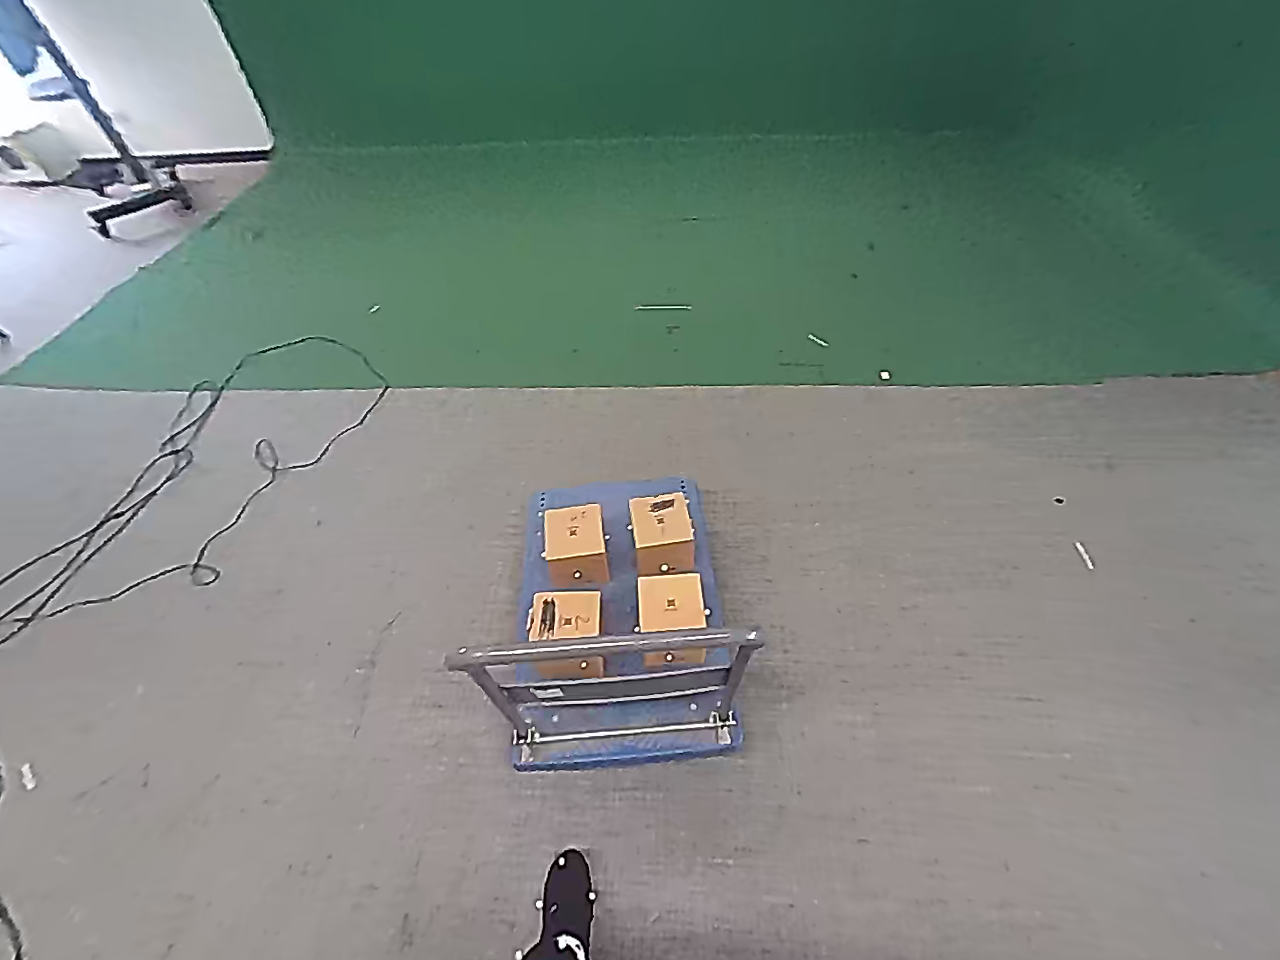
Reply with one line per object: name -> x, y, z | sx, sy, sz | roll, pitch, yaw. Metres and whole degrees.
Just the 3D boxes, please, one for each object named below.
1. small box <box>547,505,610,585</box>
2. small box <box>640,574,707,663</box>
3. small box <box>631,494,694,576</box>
small box -> -0.183, 0.202, 1.619 | 0.168, 0.176, 0.179 | -7, 50, -3
small box -> 0.085, 0.373, 1.459 | 0.168, 0.176, 0.179 | -4, 50, 0
small box -> 0.066, 0.167, 1.632 | 0.168, 0.176, 0.179 | -8, 51, -2
